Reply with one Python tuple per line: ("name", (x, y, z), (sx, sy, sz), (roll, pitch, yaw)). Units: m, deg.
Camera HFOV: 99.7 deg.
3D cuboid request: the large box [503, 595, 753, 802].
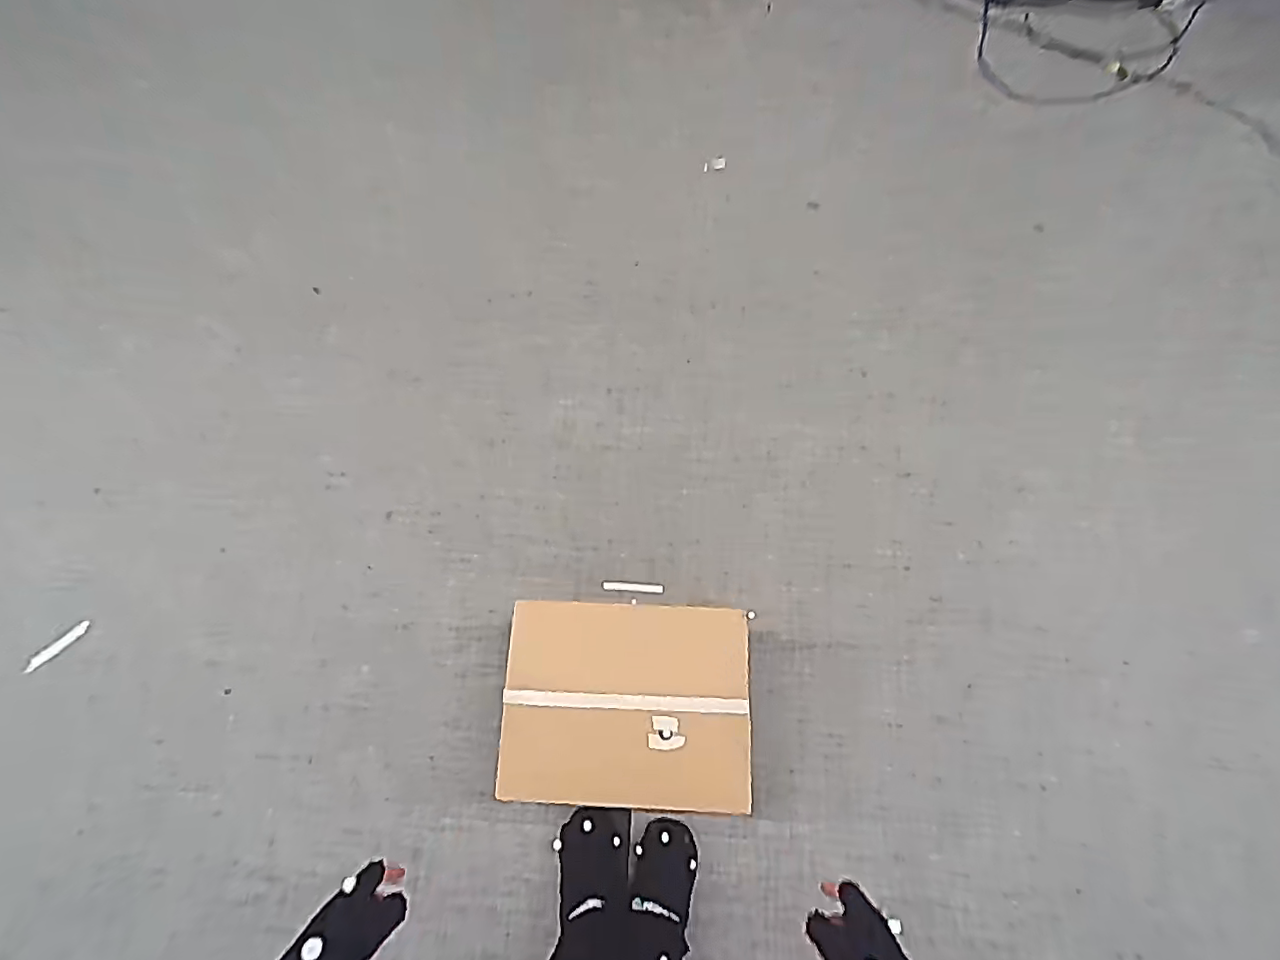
("large box", (-0.016, 0.396, 1.034), (0.408, 0.320, 0.320), (2, 74, 1))
